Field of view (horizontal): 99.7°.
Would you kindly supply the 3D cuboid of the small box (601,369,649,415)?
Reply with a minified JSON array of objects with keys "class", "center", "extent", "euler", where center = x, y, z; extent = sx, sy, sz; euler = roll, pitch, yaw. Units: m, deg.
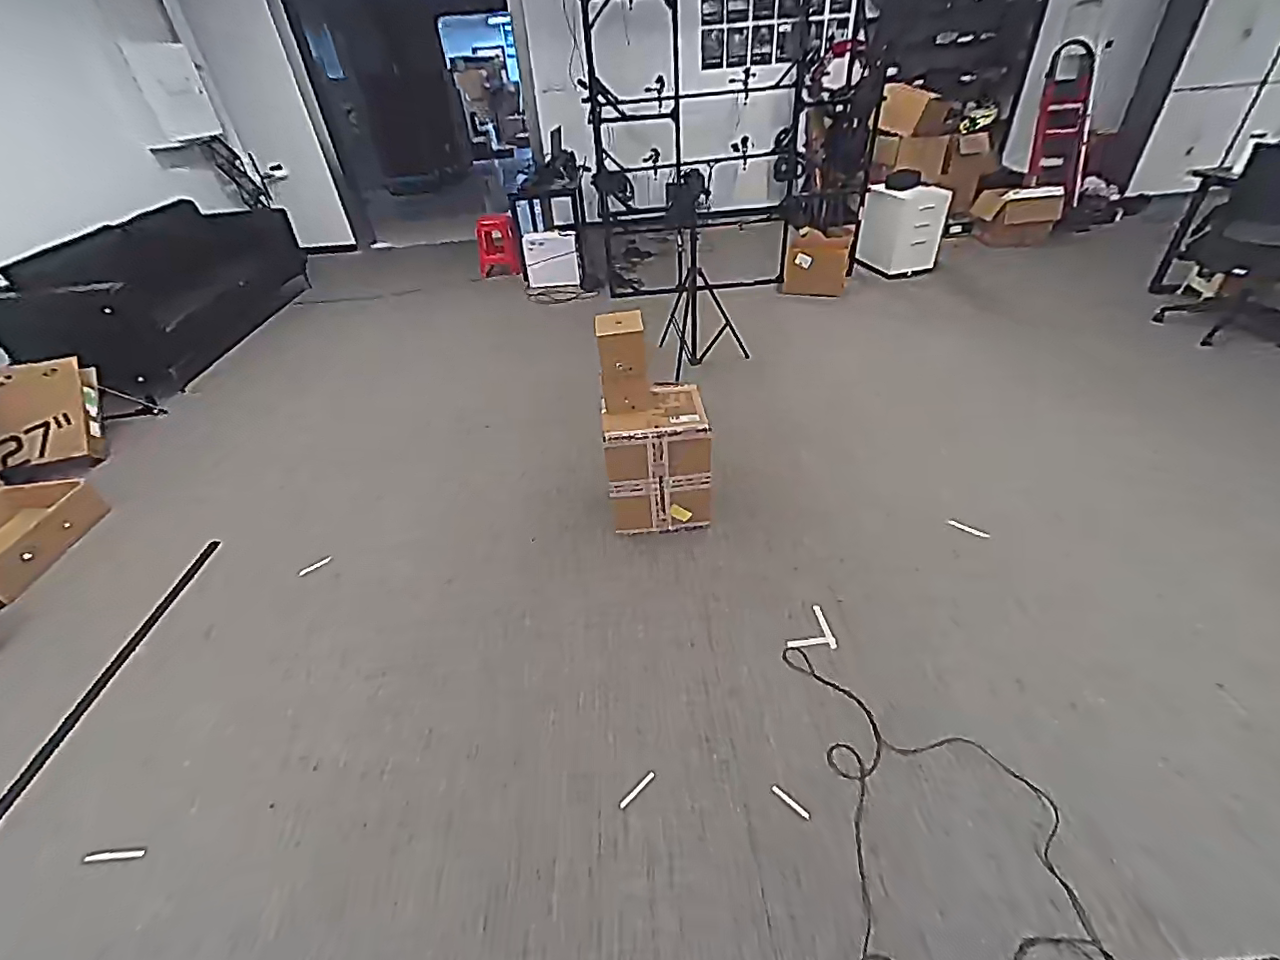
[{"class":"small box","center":[-0.058,-0.366,2.059],"extent":[0.168,0.176,0.179],"euler":[-7,40,0]}]

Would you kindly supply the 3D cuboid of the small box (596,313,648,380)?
[{"class":"small box","center":[-0.065,-0.478,1.940],"extent":[0.168,0.176,0.179],"euler":[-8,40,0]}]
